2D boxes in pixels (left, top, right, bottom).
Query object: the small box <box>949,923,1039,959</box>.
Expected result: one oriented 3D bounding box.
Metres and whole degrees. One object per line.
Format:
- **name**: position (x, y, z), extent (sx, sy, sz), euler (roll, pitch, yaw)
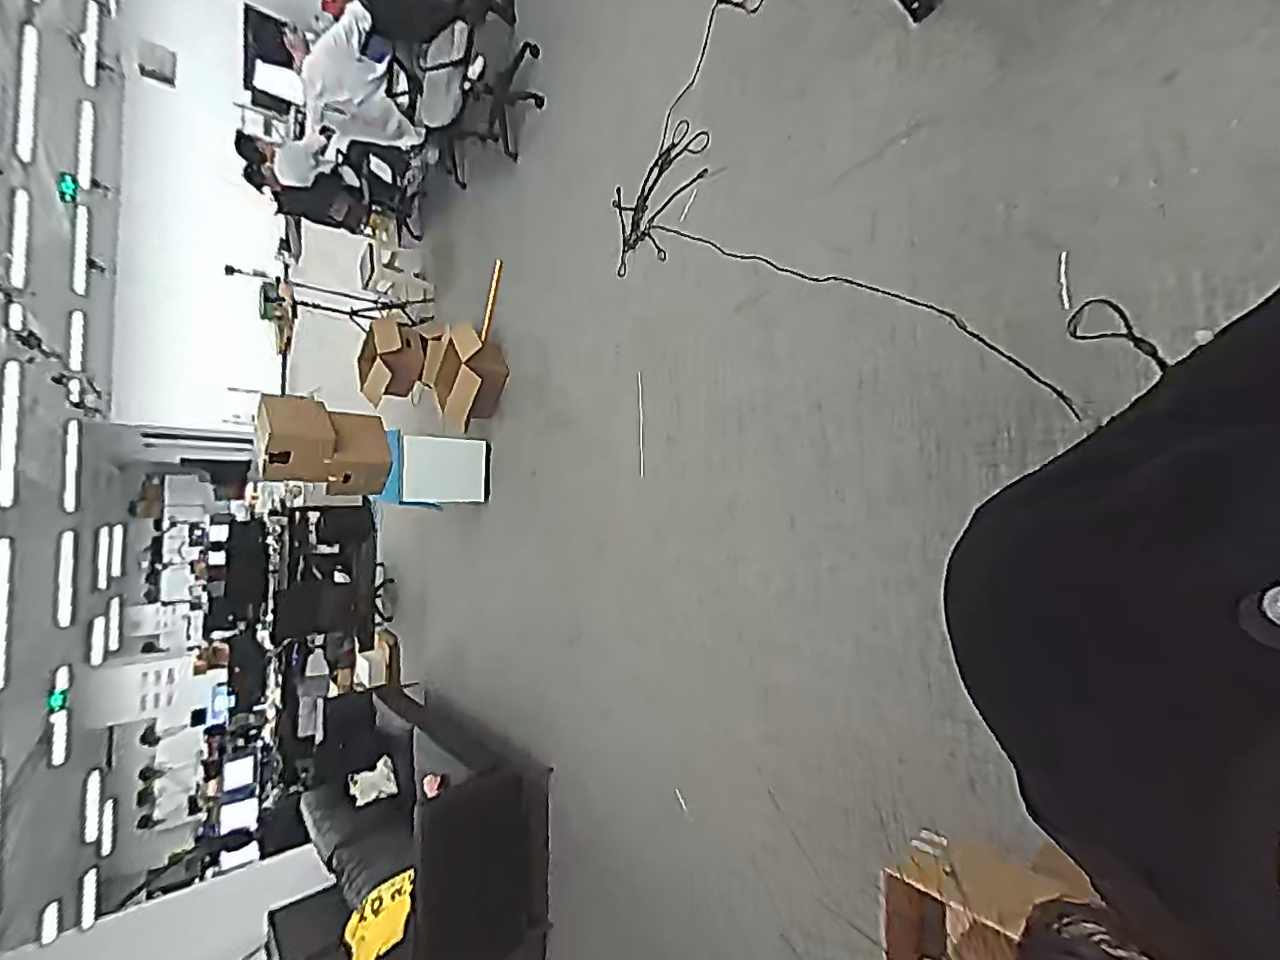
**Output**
- **small box**: position (0.599, 0.884, 0.877), extent (0.168, 0.176, 0.179), euler (6, 92, 51)
